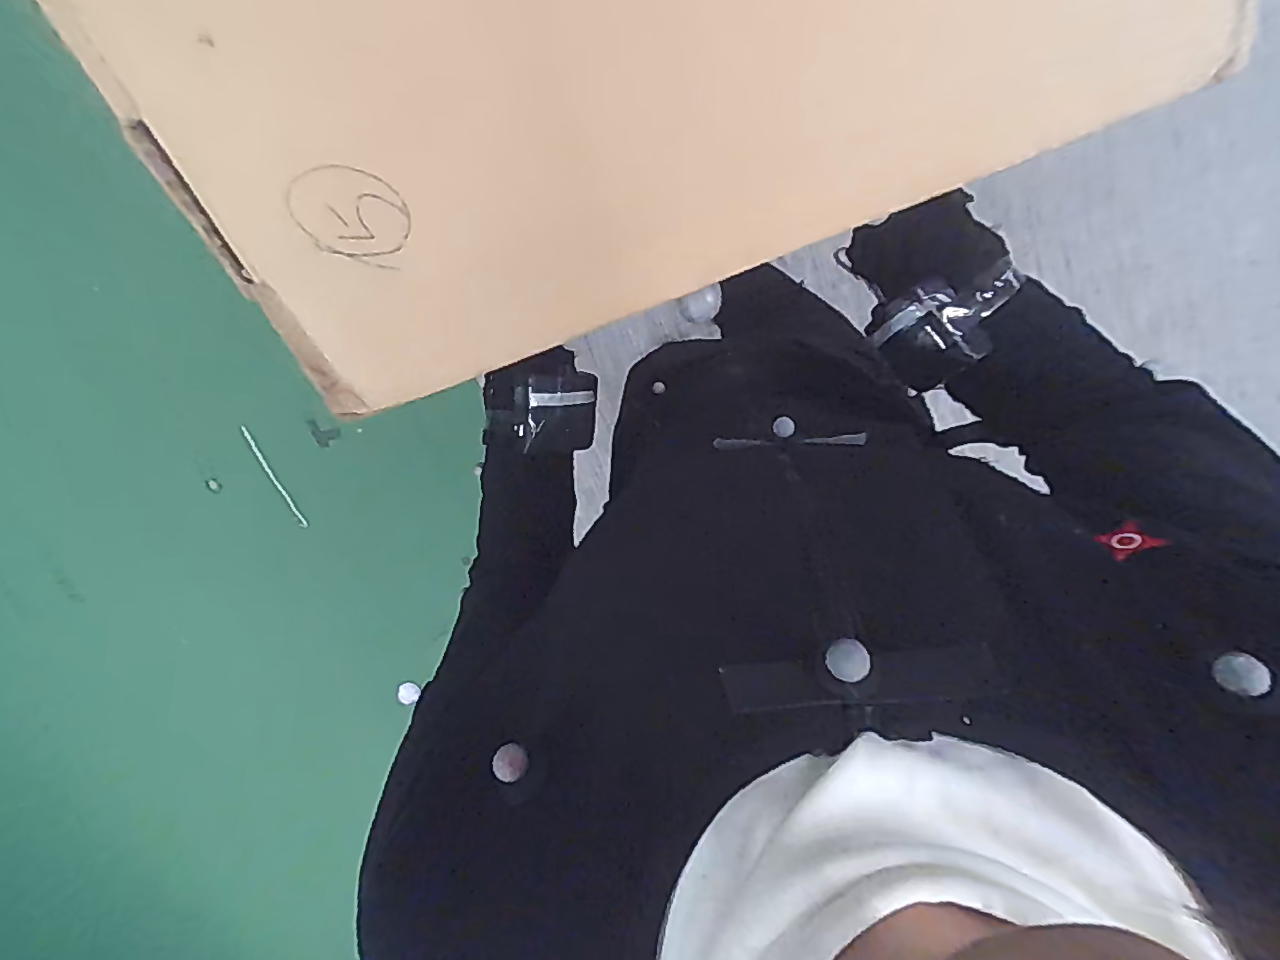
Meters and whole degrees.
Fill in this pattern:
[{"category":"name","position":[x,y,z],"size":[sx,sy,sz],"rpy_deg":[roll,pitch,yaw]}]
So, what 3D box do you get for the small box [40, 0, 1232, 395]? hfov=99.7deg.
[{"category":"small box","position":[-0.016,-0.146,0.136],"size":[0.179,0.176,0.168],"rpy_deg":[-19,117,10]}]
